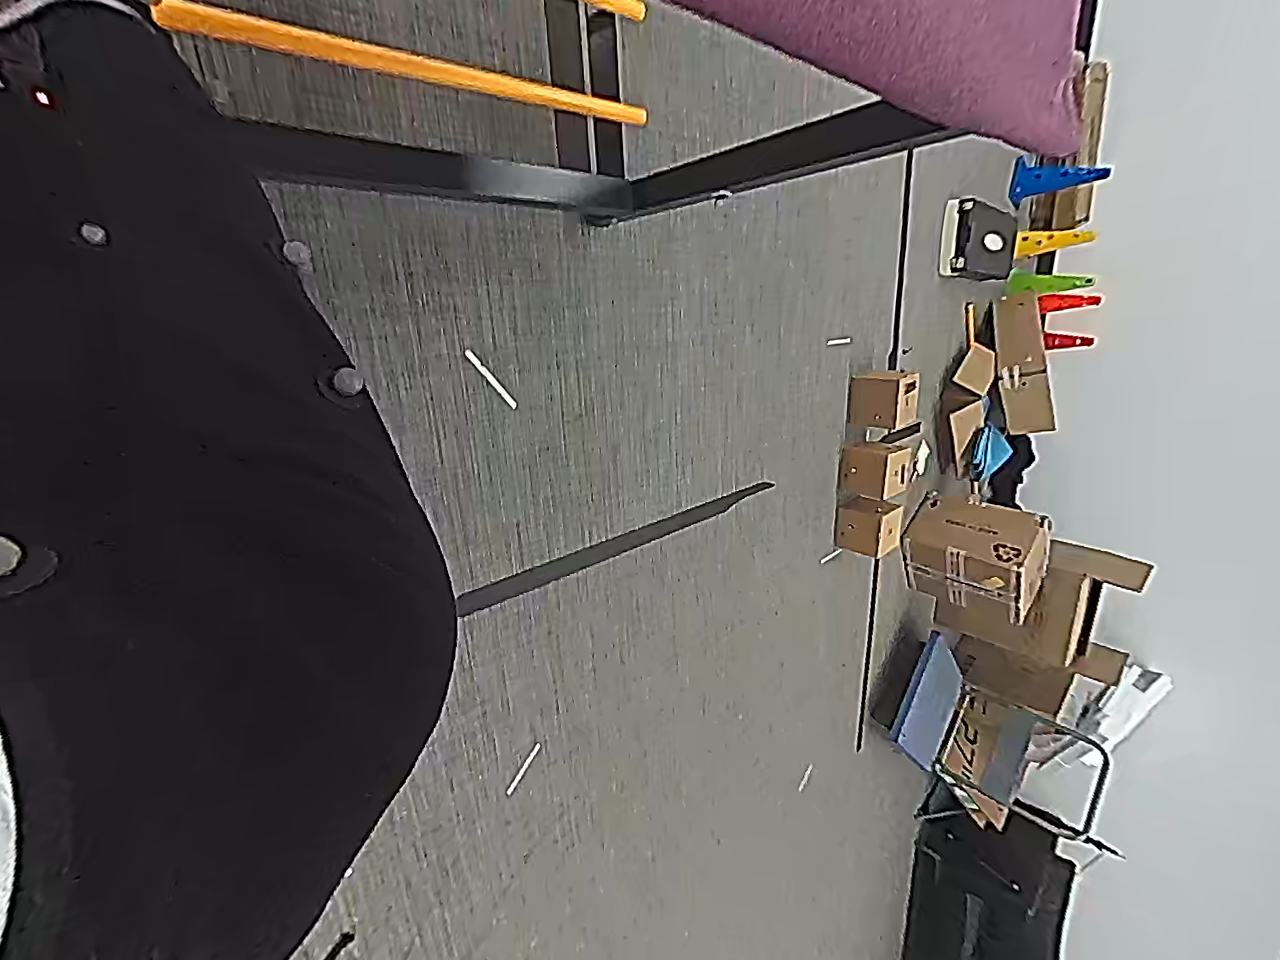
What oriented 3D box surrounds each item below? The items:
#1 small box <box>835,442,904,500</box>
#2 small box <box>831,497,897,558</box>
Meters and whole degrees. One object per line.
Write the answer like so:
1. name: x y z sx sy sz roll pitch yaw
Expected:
1. small box: 0.839 -0.040 1.983 0.179 0.176 0.168 -15 111 -40
2. small box: 0.850 0.174 2.057 0.179 0.176 0.168 -17 113 -40
